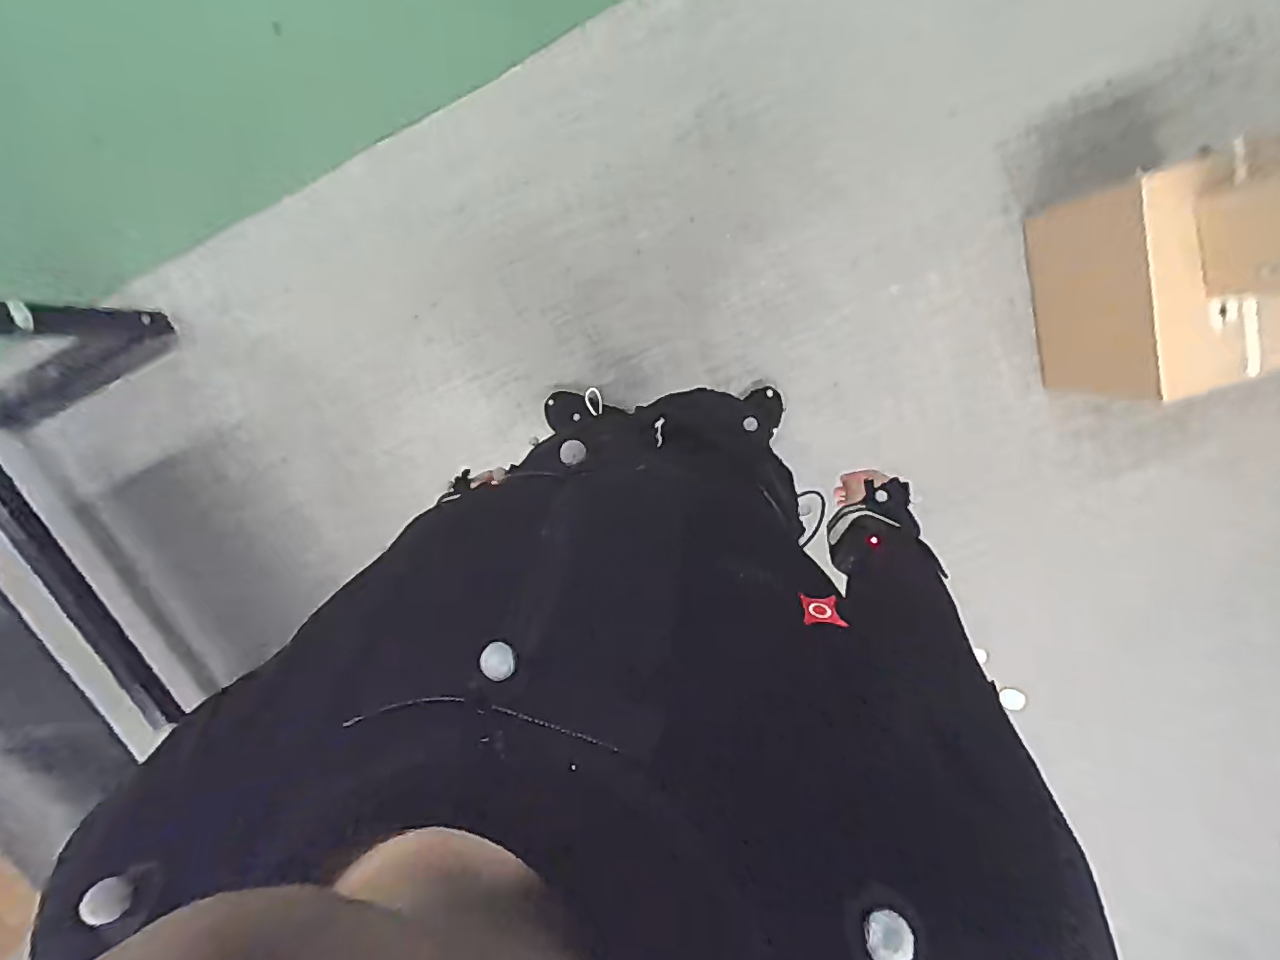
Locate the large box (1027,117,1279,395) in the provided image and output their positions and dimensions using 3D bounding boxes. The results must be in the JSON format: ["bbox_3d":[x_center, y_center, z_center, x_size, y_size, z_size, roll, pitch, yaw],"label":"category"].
[{"bbox_3d":[1.047,-0.421,1.072,0.320,0.320,0.408,-18,104,7],"label":"large box"}]

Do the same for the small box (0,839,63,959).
[{"bbox_3d":[-0.966,0.628,0.729,0.168,0.176,0.179,-25,101,9],"label":"small box"}]
